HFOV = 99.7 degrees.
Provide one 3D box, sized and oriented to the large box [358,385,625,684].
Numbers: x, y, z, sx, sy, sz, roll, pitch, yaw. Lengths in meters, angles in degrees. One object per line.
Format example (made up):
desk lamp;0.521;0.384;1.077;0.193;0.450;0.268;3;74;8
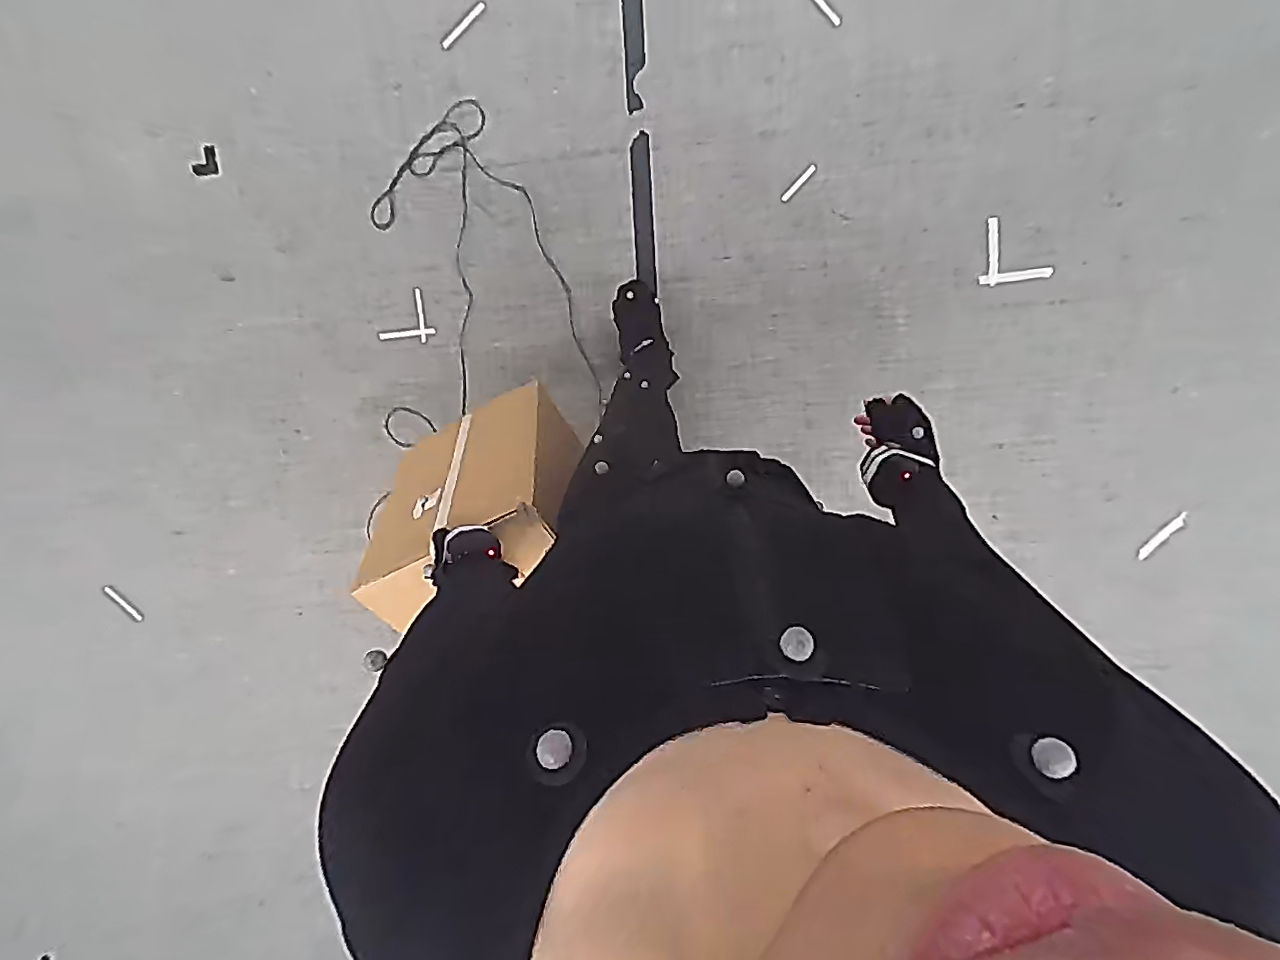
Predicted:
large box;-0.249;0.089;1.019;0.320;0.408;0.320;-27;125;9
